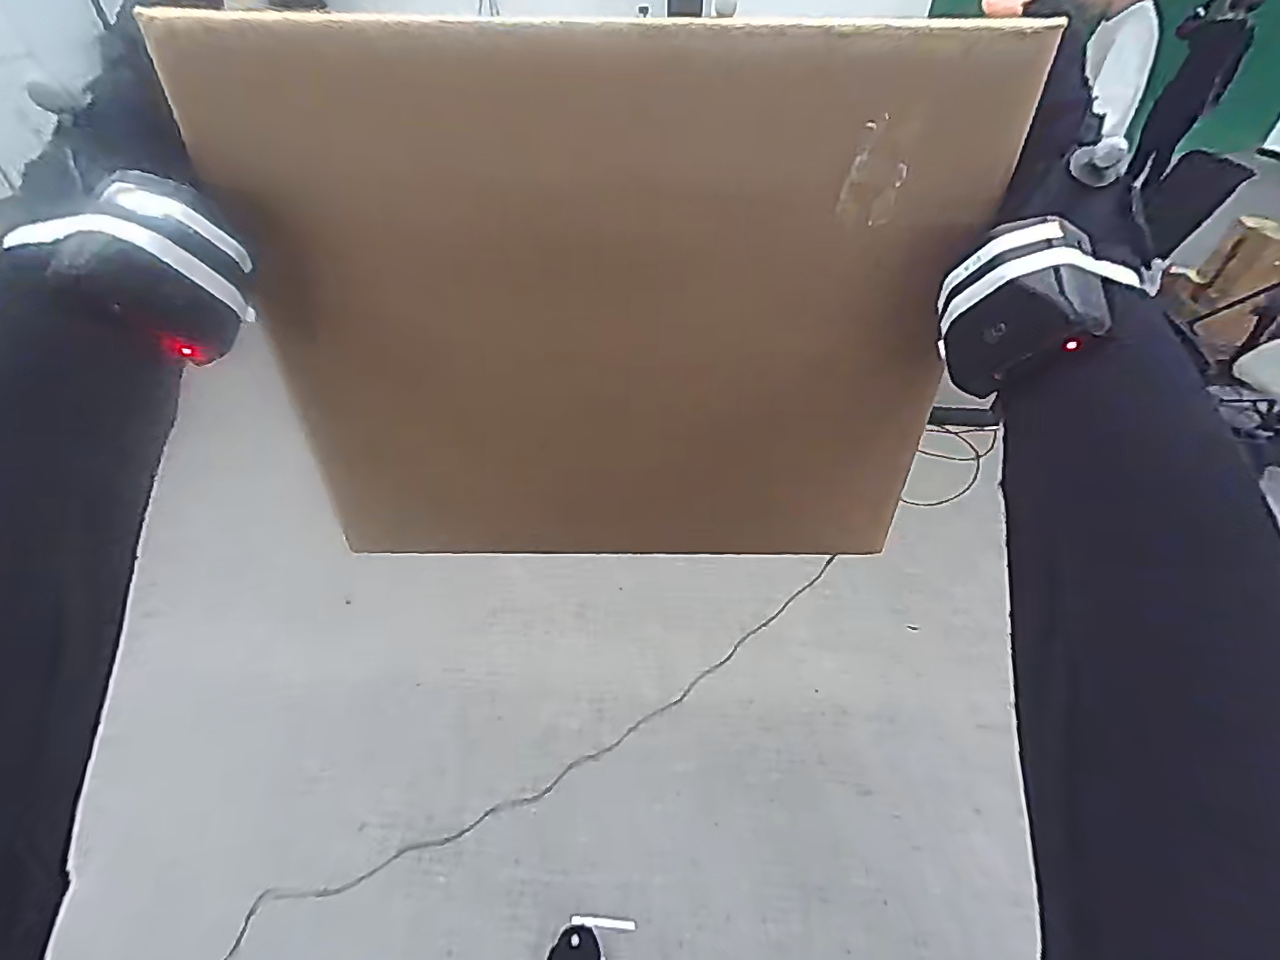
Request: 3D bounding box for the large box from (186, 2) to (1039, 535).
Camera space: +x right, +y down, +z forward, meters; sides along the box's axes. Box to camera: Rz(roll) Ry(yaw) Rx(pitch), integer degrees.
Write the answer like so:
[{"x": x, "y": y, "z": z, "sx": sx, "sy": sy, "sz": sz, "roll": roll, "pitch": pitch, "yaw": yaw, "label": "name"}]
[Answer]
[{"x": -0.015, "y": -0.165, "z": 0.452, "sx": 0.408, "sy": 0.320, "sz": 0.320, "roll": 1, "pitch": 35, "yaw": -1, "label": "large box"}]
